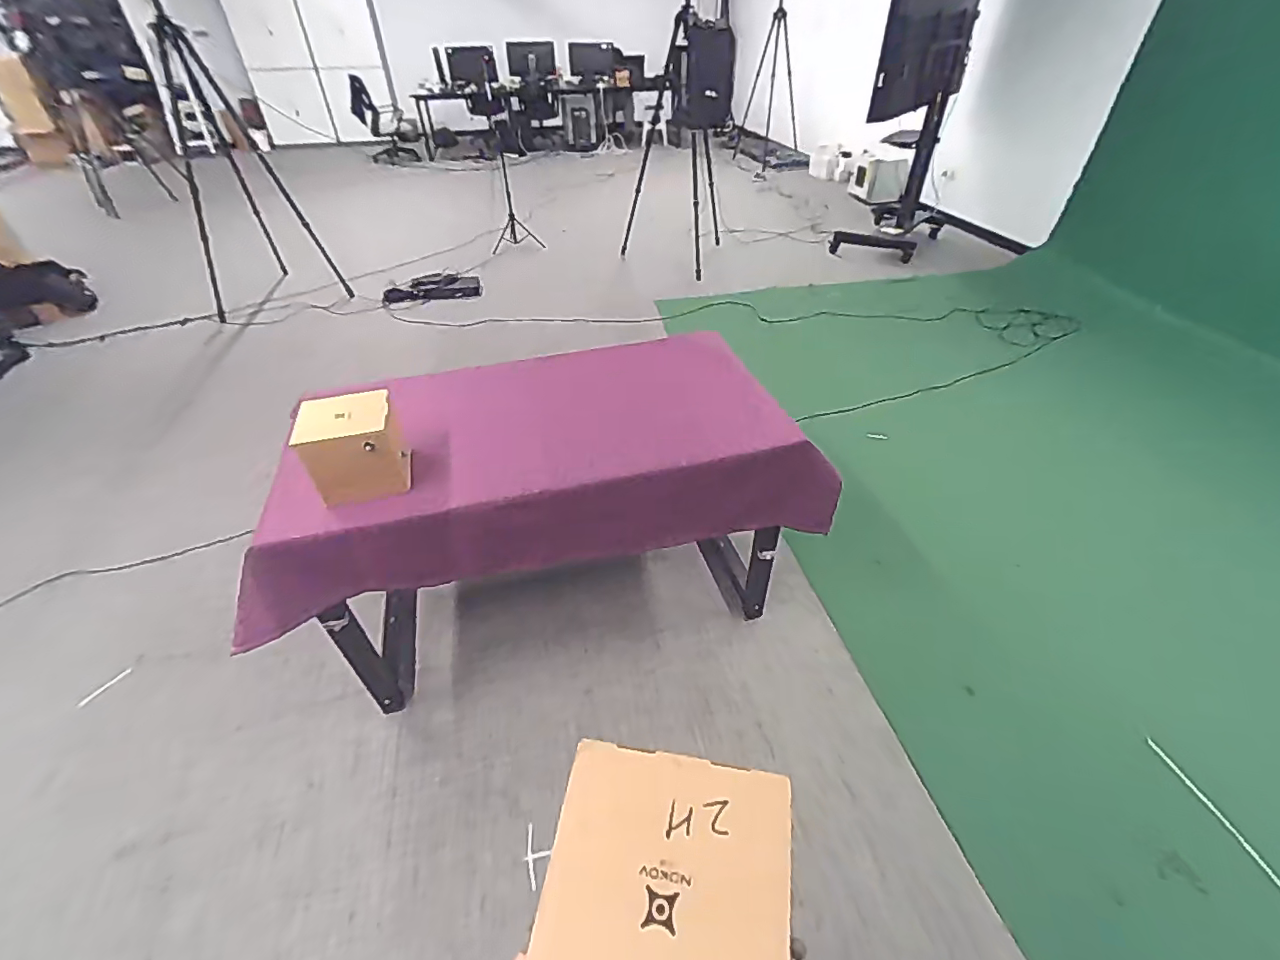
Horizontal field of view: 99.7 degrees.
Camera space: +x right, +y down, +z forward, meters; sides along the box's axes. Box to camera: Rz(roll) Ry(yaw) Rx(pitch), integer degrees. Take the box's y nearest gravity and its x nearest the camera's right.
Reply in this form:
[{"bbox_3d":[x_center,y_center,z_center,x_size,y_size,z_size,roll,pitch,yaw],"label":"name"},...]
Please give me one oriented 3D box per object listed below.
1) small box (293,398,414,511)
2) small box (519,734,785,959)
[{"bbox_3d":[-0.603,-0.053,1.161,0.179,0.176,0.168,-11,40,-13],"label":"small box"},{"bbox_3d":[0.019,0.329,0.424,0.168,0.176,0.179,6,49,11],"label":"small box"}]
